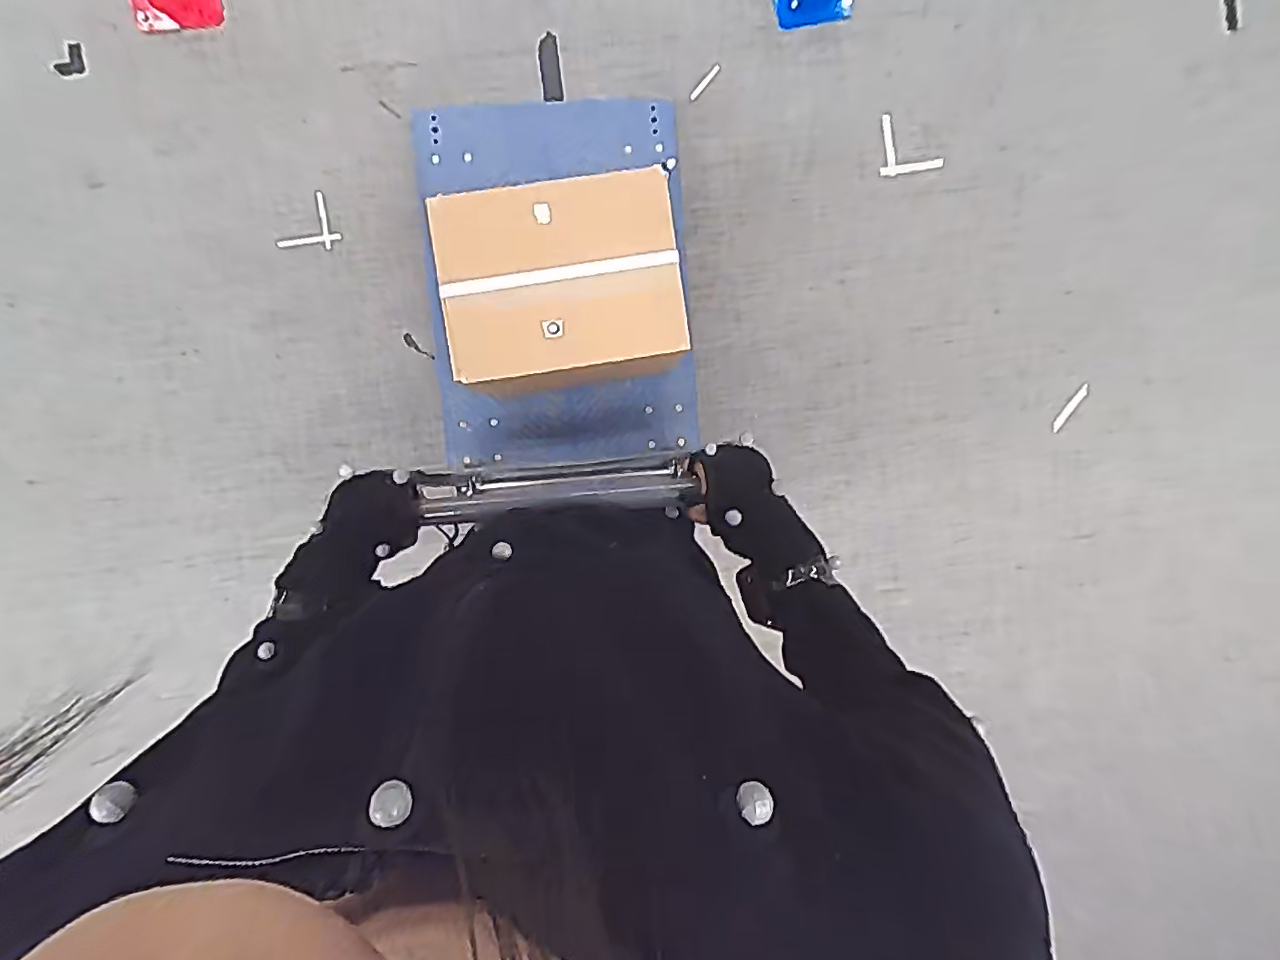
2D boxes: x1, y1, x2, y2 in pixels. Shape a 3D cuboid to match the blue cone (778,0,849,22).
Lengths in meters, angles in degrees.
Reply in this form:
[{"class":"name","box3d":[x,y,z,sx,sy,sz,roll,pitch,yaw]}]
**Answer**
[{"class":"blue cone","box3d":[0.445,-1.261,1.211,0.193,0.380,0.192,-12,93,-4]}]
